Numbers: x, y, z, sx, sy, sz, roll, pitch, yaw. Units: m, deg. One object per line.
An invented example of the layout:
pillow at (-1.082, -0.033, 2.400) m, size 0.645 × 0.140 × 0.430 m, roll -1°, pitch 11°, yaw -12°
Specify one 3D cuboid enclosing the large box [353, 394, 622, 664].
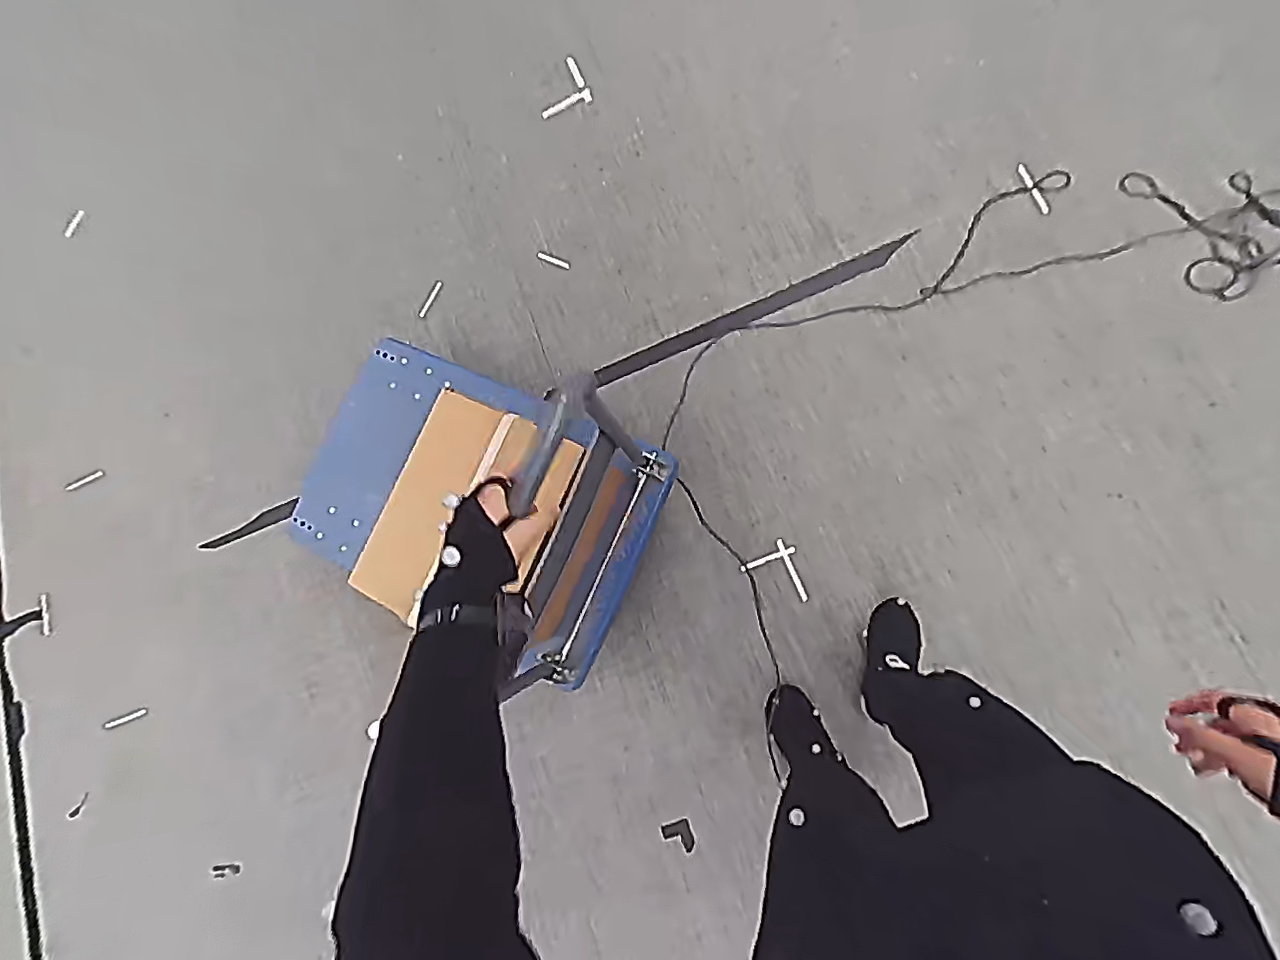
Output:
large box at (-0.280, 0.102, 1.100) m, size 0.320 × 0.320 × 0.408 m, roll 24°, pitch 85°, yaw 14°
